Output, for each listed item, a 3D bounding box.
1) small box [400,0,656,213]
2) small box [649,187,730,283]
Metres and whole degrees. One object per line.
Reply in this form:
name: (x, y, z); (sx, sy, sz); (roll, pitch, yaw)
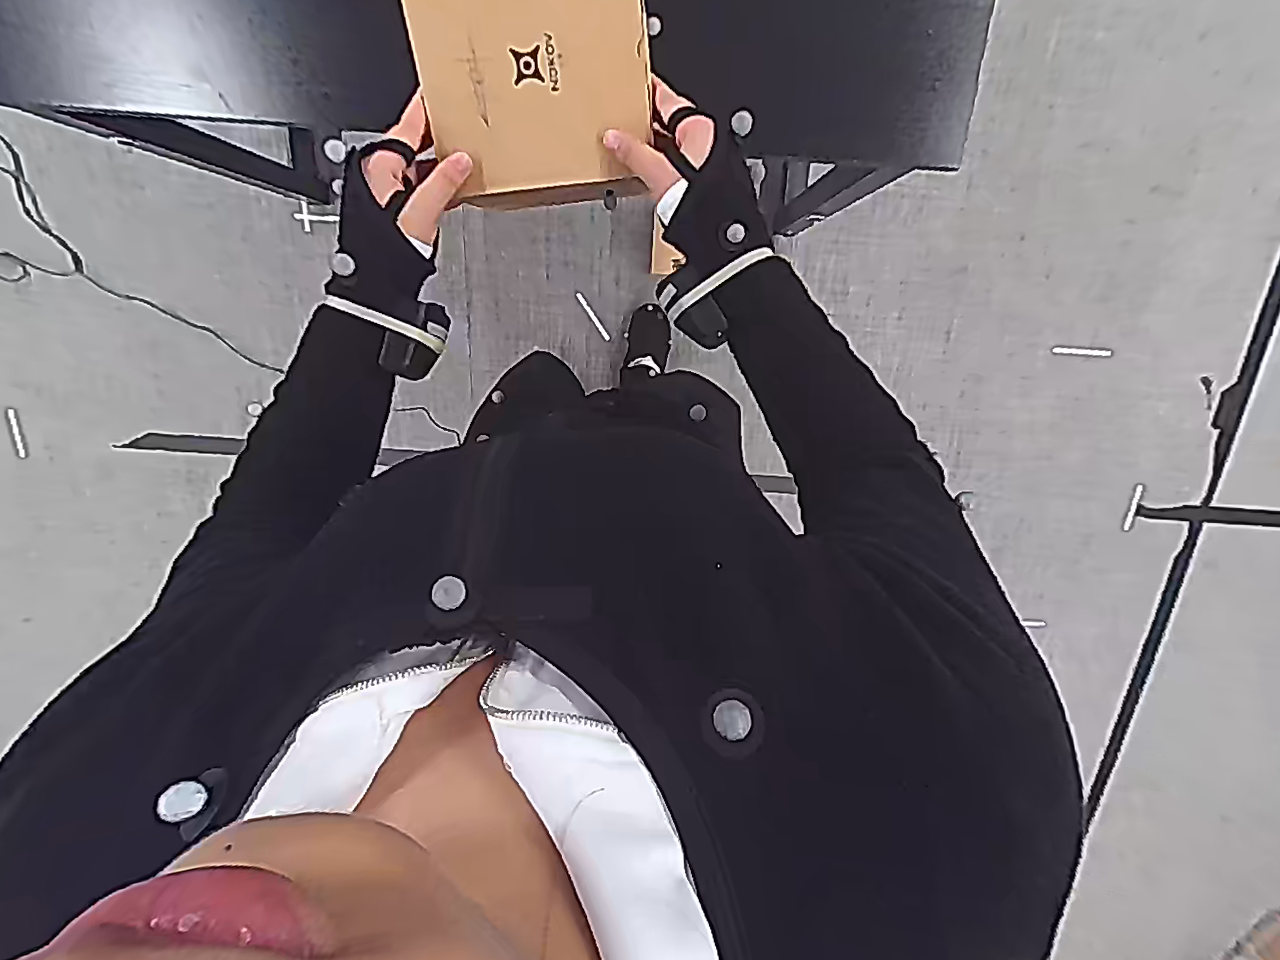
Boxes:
small box: (-0.082, -0.341, 0.477); (0.179, 0.176, 0.168); (-6, 111, 3)
small box: (0.108, -0.563, 1.259); (0.168, 0.176, 0.179); (3, 106, 1)
